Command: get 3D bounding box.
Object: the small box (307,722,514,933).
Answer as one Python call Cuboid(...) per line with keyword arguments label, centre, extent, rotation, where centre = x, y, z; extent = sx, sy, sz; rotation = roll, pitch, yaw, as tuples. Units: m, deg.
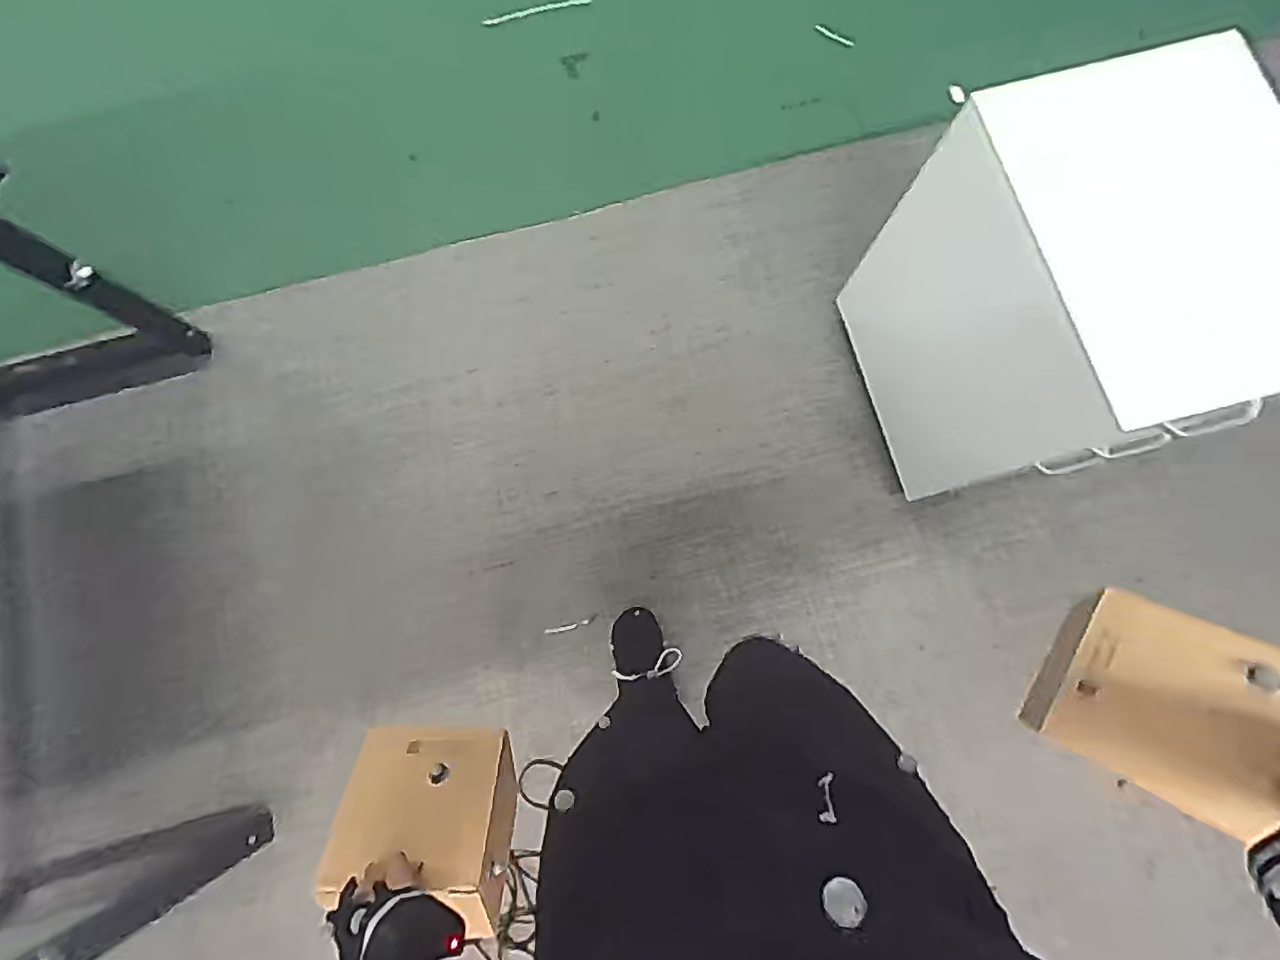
Cuboid(label="small box", centre=(-0.250, 0.412, 0.644), extent=(0.168, 0.179, 0.176), rotation=(1, 39, -3))
